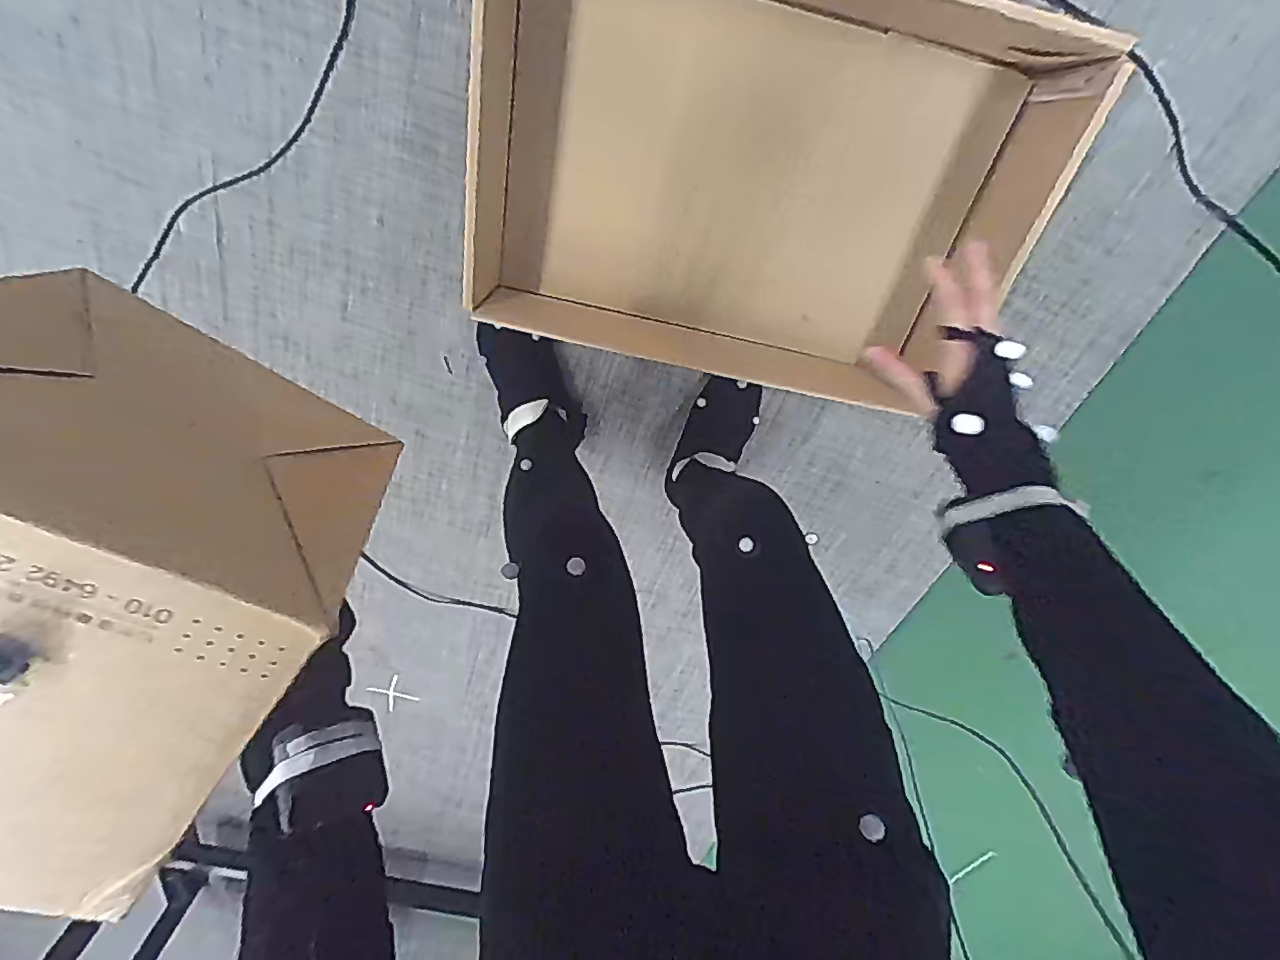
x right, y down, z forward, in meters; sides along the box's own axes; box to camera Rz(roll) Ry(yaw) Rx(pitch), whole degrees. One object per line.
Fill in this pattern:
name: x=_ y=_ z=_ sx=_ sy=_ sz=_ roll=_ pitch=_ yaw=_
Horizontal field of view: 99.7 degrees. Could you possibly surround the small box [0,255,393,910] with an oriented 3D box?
small box: x=-0.230 y=0.028 z=0.230 sx=0.168 sy=0.179 sz=0.176 roll=33 pitch=102 yaw=-26
